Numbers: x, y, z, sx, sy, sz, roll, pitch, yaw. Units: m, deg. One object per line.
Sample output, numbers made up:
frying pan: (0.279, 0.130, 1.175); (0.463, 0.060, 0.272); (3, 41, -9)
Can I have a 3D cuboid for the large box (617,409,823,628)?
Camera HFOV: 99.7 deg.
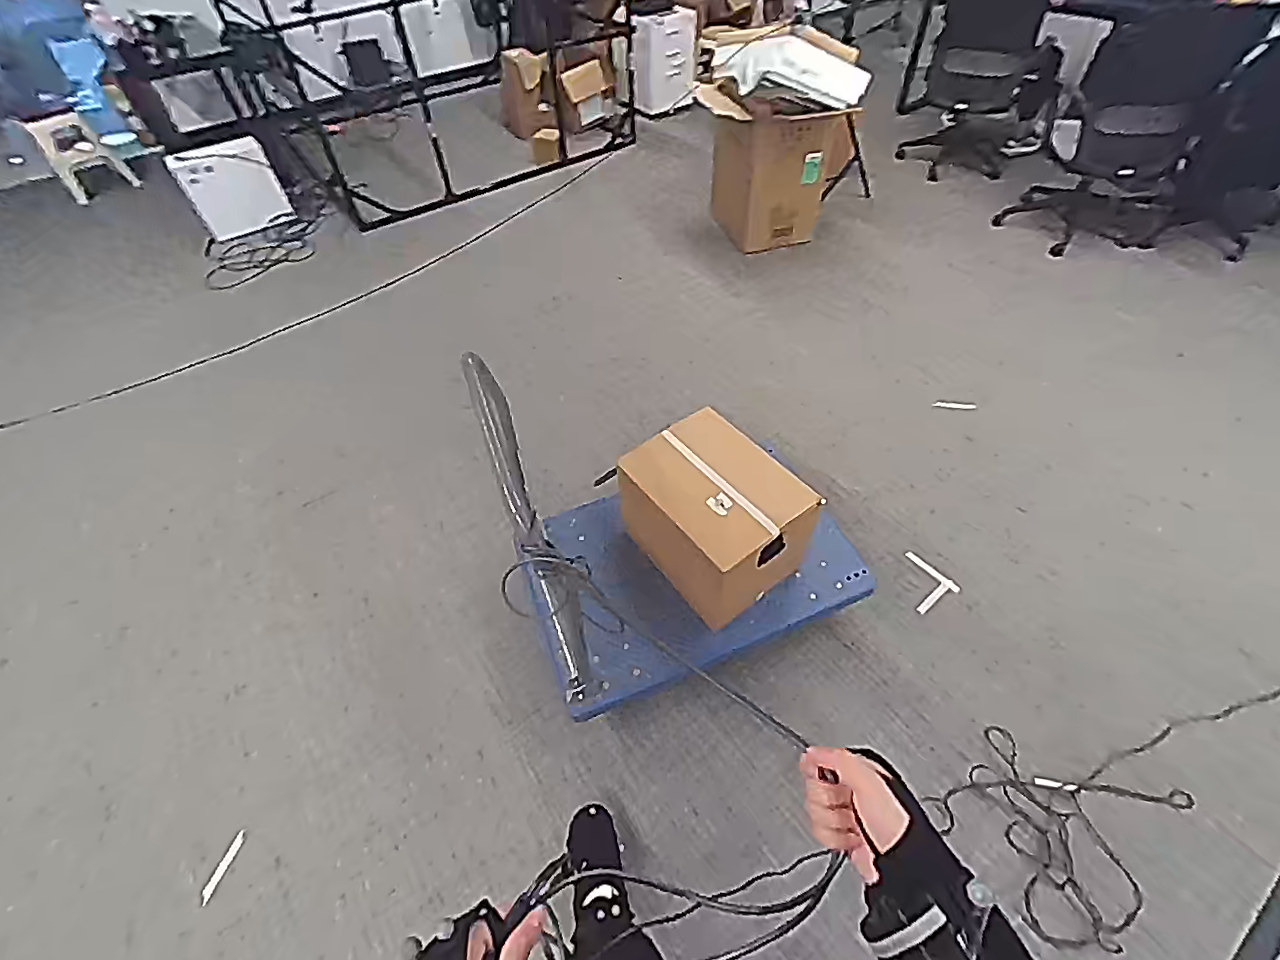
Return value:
large box: (0.184, 0.094, 1.397); (0.320, 0.320, 0.408); (-32, 57, -20)
